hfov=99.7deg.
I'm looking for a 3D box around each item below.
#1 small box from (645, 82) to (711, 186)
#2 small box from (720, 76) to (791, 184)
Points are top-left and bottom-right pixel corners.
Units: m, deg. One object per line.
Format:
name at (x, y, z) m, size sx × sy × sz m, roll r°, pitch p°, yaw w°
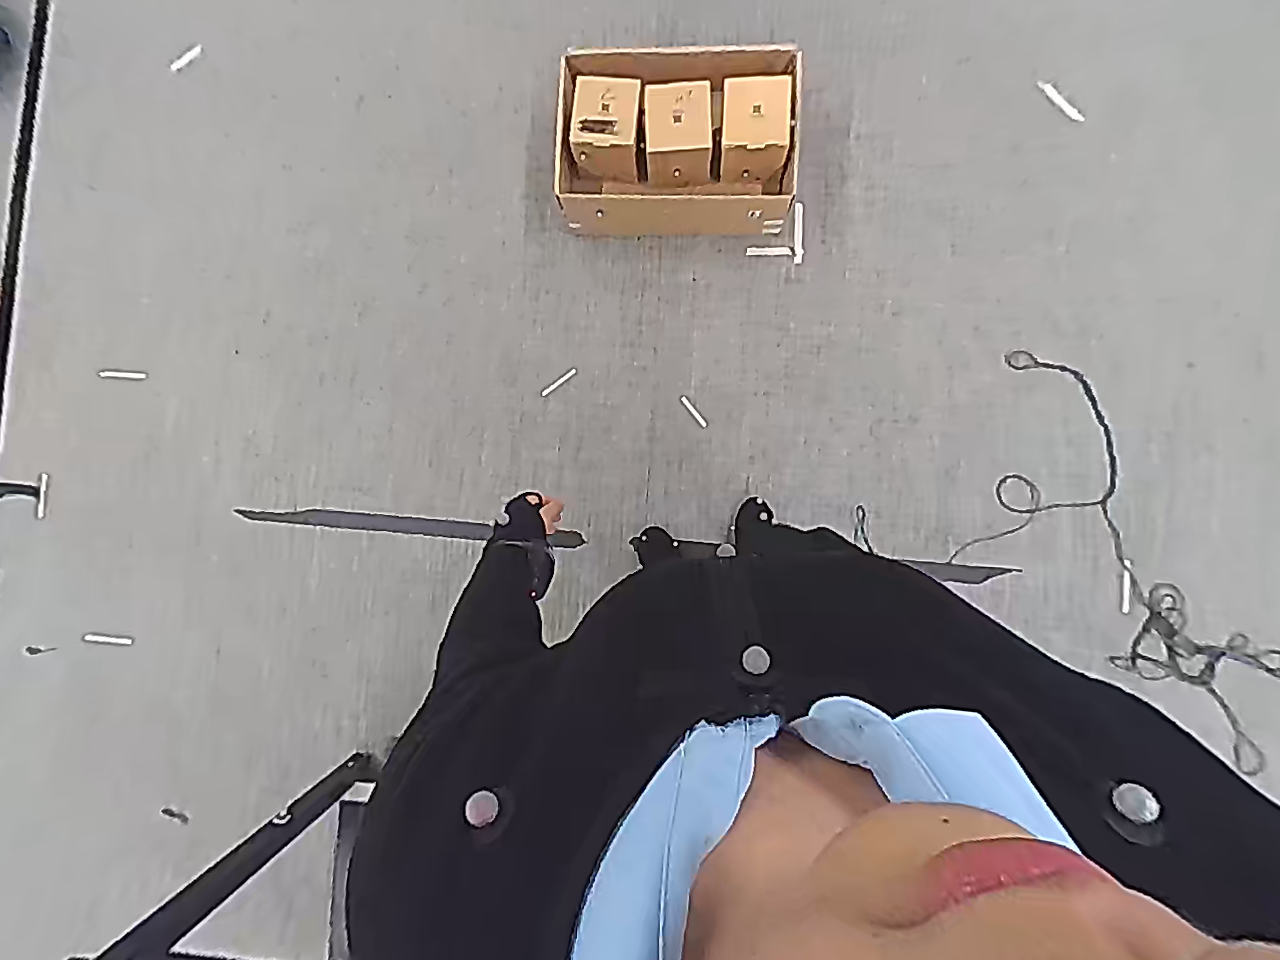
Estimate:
small box at (0.101, -0.904, 1.431) m, size 0.168 × 0.176 × 0.179 m, roll -2°, pitch 87°, yaw 3°
small box at (0.297, -0.909, 1.416) m, size 0.168 × 0.176 × 0.179 m, roll 2°, pitch 89°, yaw 6°
